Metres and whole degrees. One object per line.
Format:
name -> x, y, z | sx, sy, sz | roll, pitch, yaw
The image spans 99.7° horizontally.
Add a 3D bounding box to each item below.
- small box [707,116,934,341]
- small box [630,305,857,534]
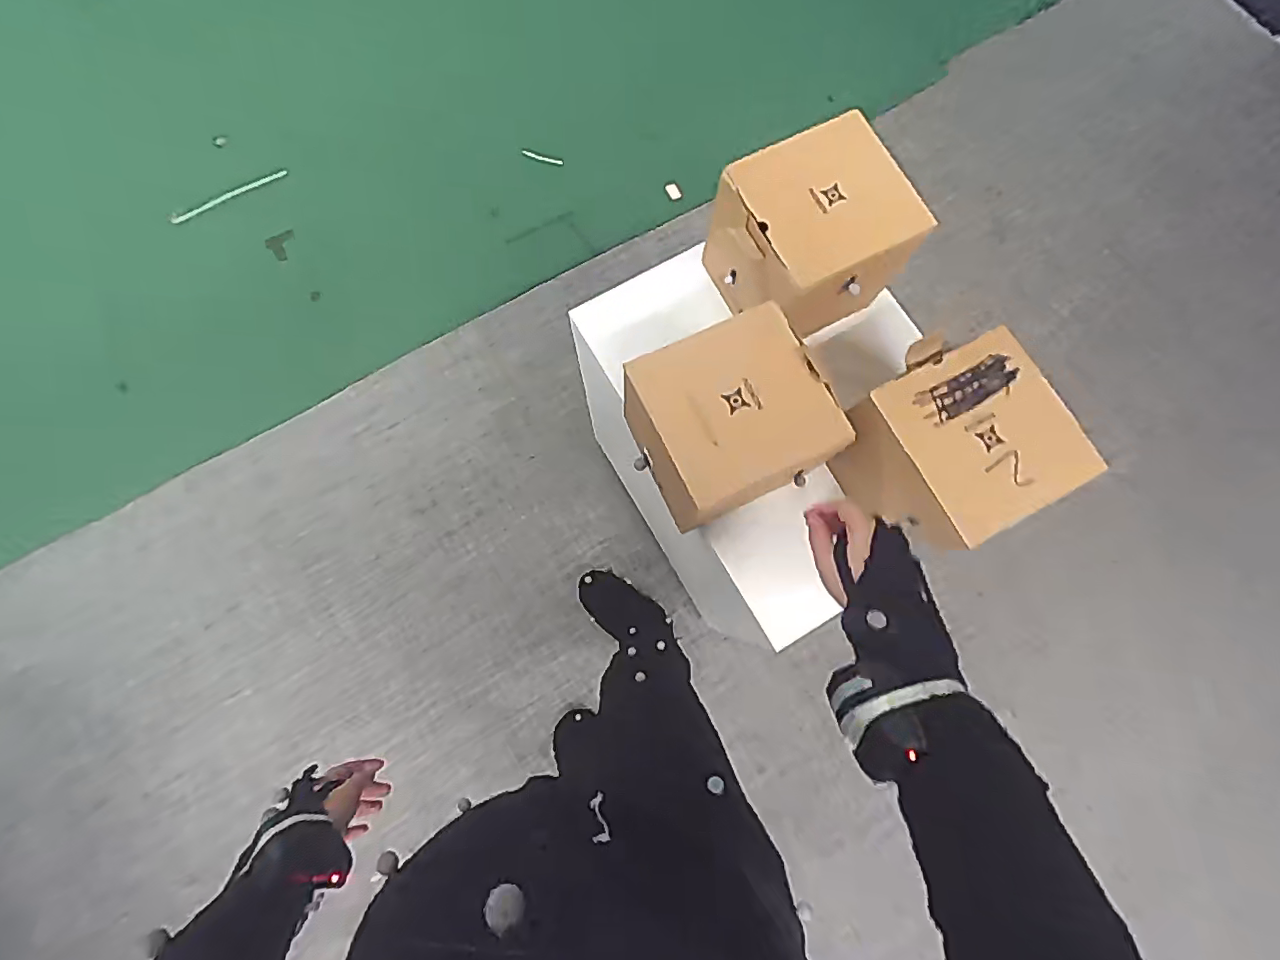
small box -> 0.202, -0.283, 0.658 | 0.179, 0.176, 0.168 | -27, 80, -6
small box -> 0.097, -0.055, 0.603 | 0.179, 0.176, 0.168 | -25, 77, -7
